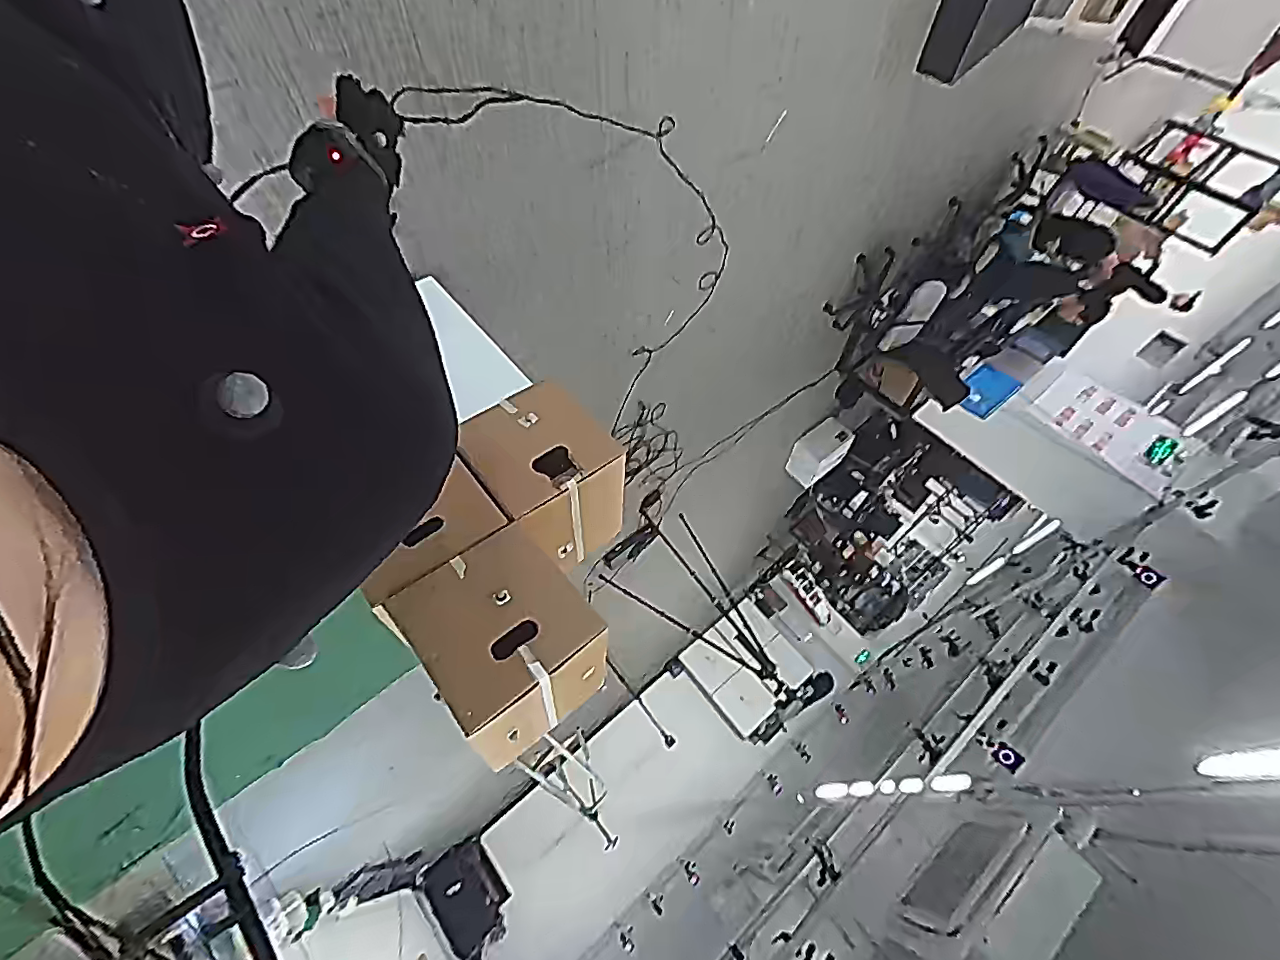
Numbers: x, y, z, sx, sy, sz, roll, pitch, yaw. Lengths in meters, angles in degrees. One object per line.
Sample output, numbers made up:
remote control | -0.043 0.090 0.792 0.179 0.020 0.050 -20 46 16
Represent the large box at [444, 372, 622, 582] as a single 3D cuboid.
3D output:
large box | -0.263 -0.001 1.427 0.320 0.320 0.408 -33 155 -22
